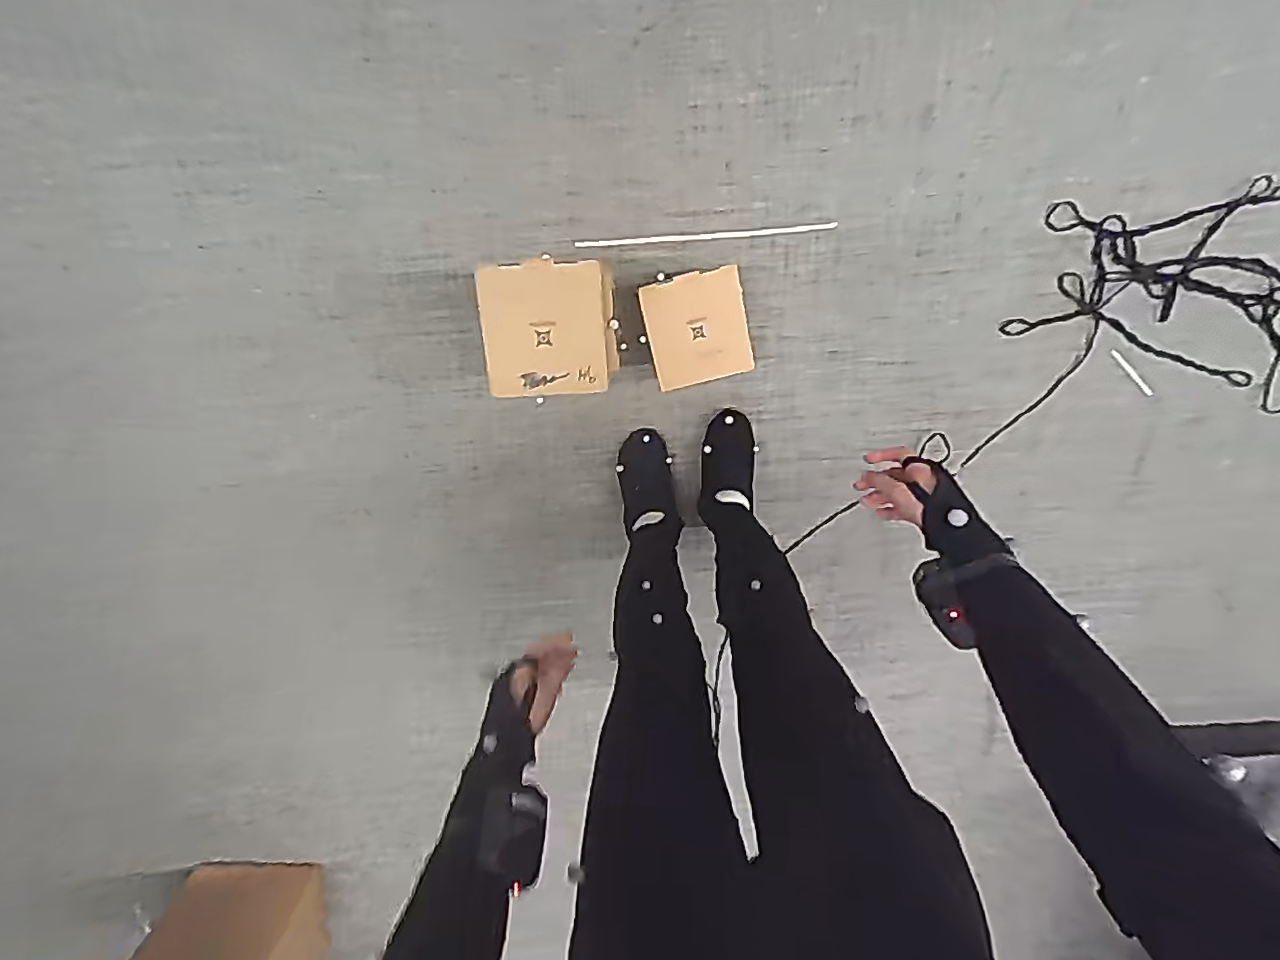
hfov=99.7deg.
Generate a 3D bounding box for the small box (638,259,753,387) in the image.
[{"bbox_3d":[0.092,-0.278,0.961,0.168,0.176,0.179,-13,108,4],"label":"small box"}]

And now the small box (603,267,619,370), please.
[{"bbox_3d":[-0.129,-0.281,0.954,0.179,0.176,0.168,-4,108,1],"label":"small box"}]

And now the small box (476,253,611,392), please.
[{"bbox_3d":[-0.131,-0.229,0.798,0.168,0.176,0.179,-3,107,0],"label":"small box"}]
